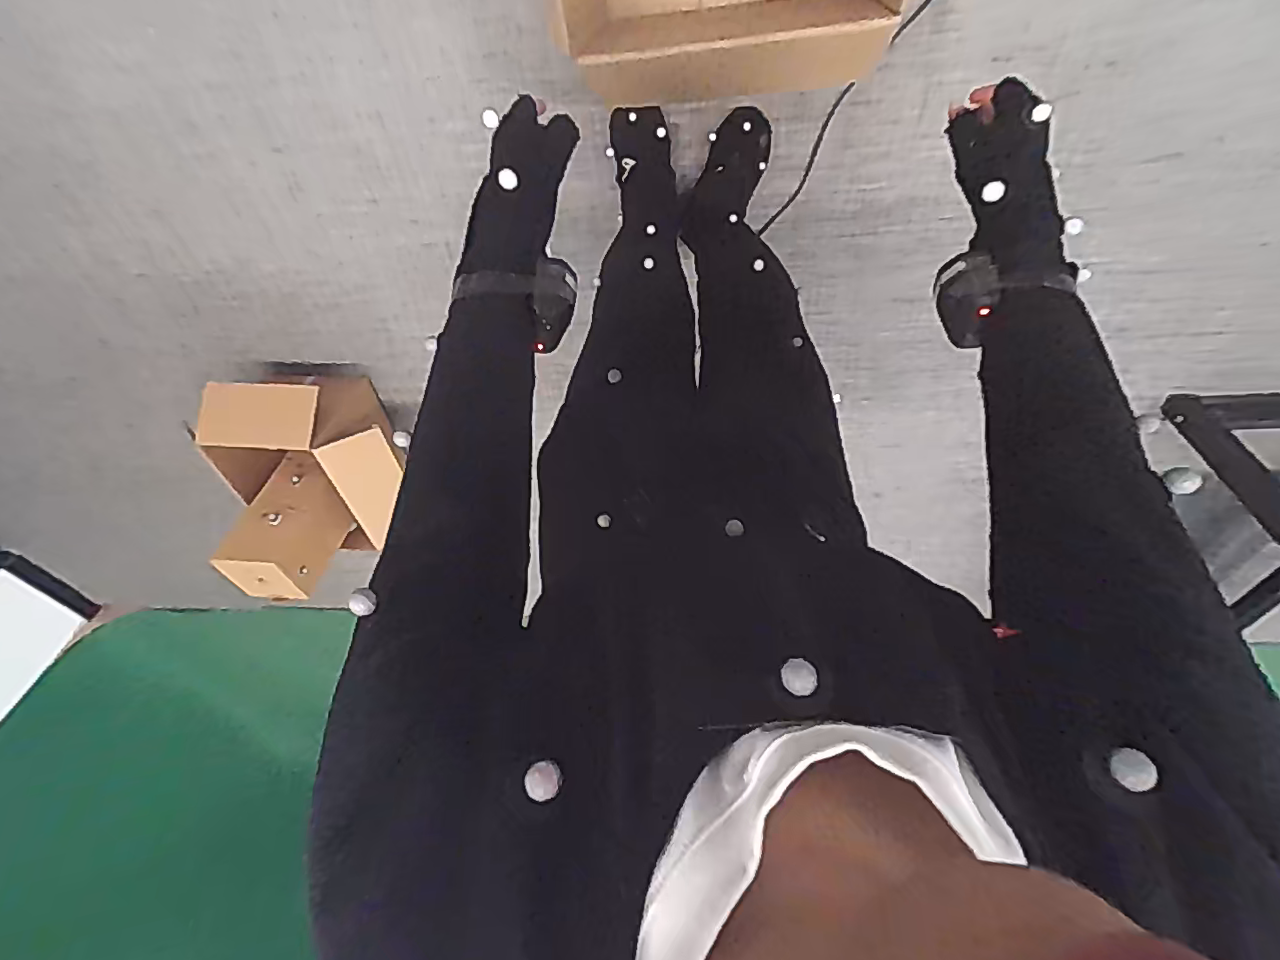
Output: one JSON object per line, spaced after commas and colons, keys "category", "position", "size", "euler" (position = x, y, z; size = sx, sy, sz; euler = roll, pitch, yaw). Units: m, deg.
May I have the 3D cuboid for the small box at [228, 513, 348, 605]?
{"category": "small box", "position": [-0.899, 0.205, 1.403], "size": [0.168, 0.176, 0.179], "euler": [1, 138, 5]}
